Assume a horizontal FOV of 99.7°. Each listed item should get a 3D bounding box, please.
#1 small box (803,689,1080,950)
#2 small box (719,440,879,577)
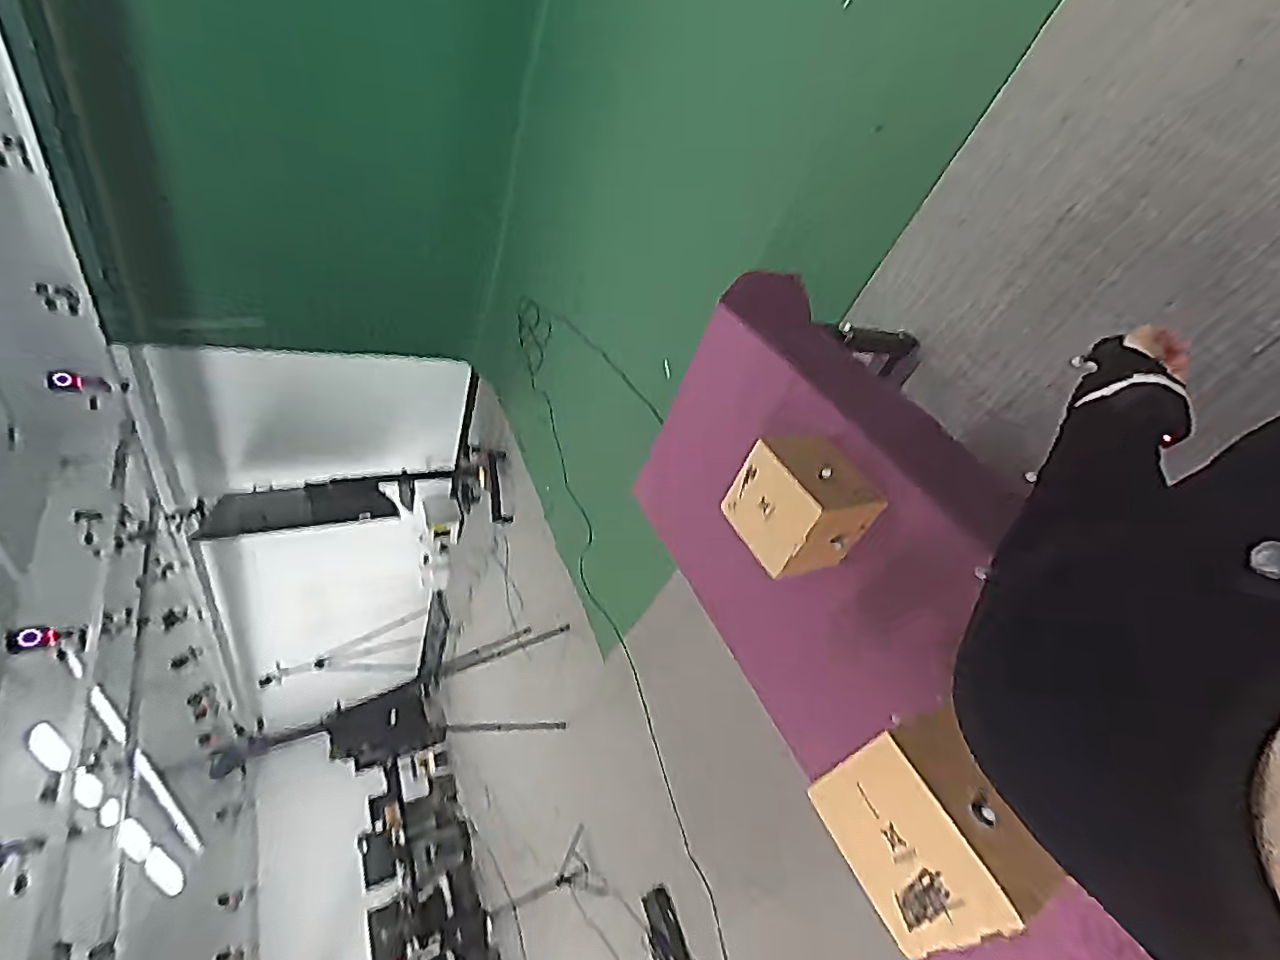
[{"bbox_3d":[0.329,0.367,0.605,0.179,0.176,0.168,58,138,36],"label":"small box"},{"bbox_3d":[0.277,0.041,0.951,0.179,0.176,0.168,56,137,36],"label":"small box"}]
